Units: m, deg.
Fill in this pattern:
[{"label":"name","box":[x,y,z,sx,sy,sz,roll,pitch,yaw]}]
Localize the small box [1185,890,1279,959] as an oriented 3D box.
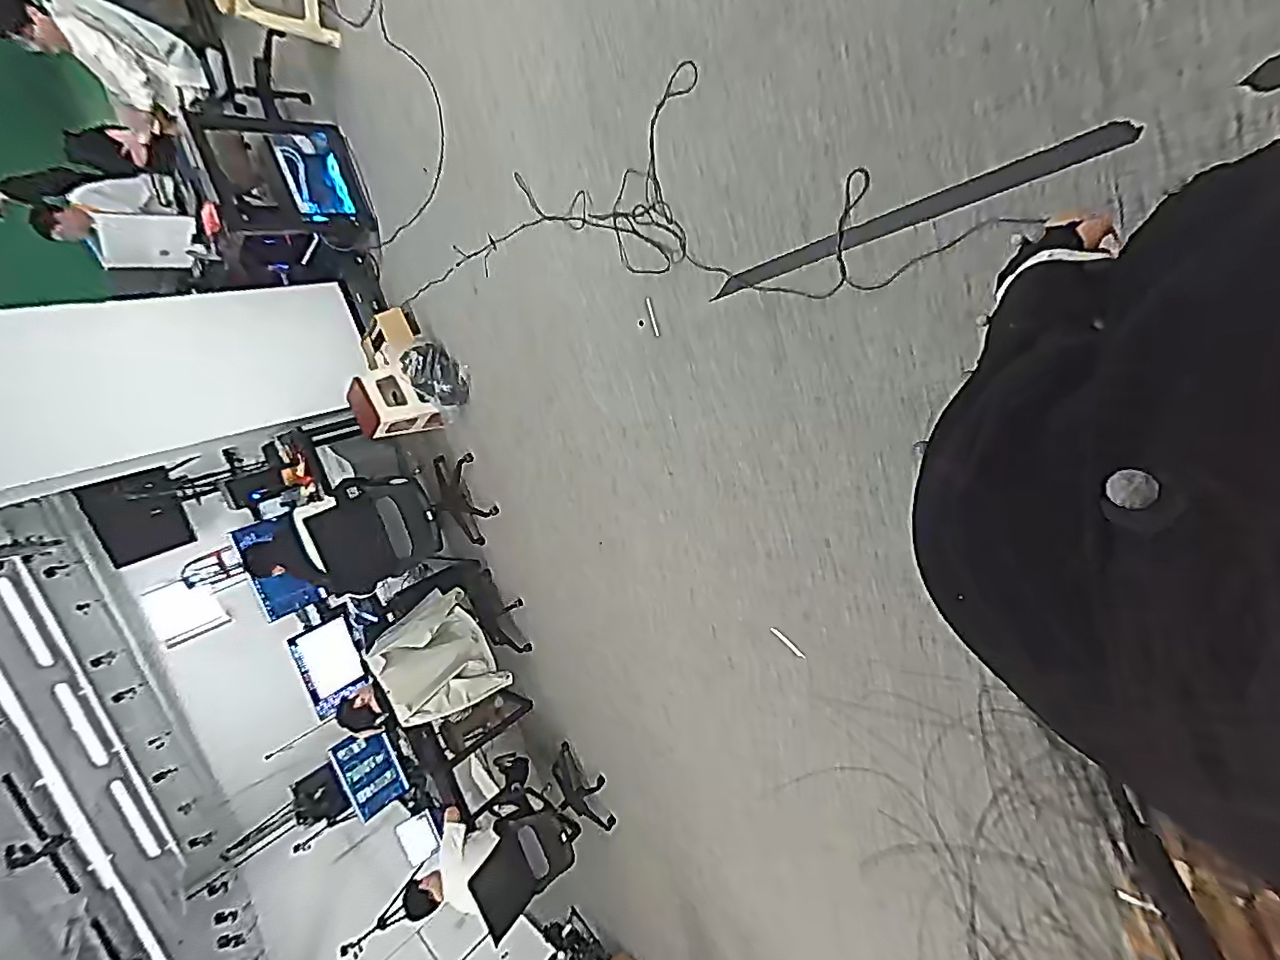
[{"label":"small box","box":[1.154,0.929,1.013,0.179,0.176,0.168,-6,104,49]}]
